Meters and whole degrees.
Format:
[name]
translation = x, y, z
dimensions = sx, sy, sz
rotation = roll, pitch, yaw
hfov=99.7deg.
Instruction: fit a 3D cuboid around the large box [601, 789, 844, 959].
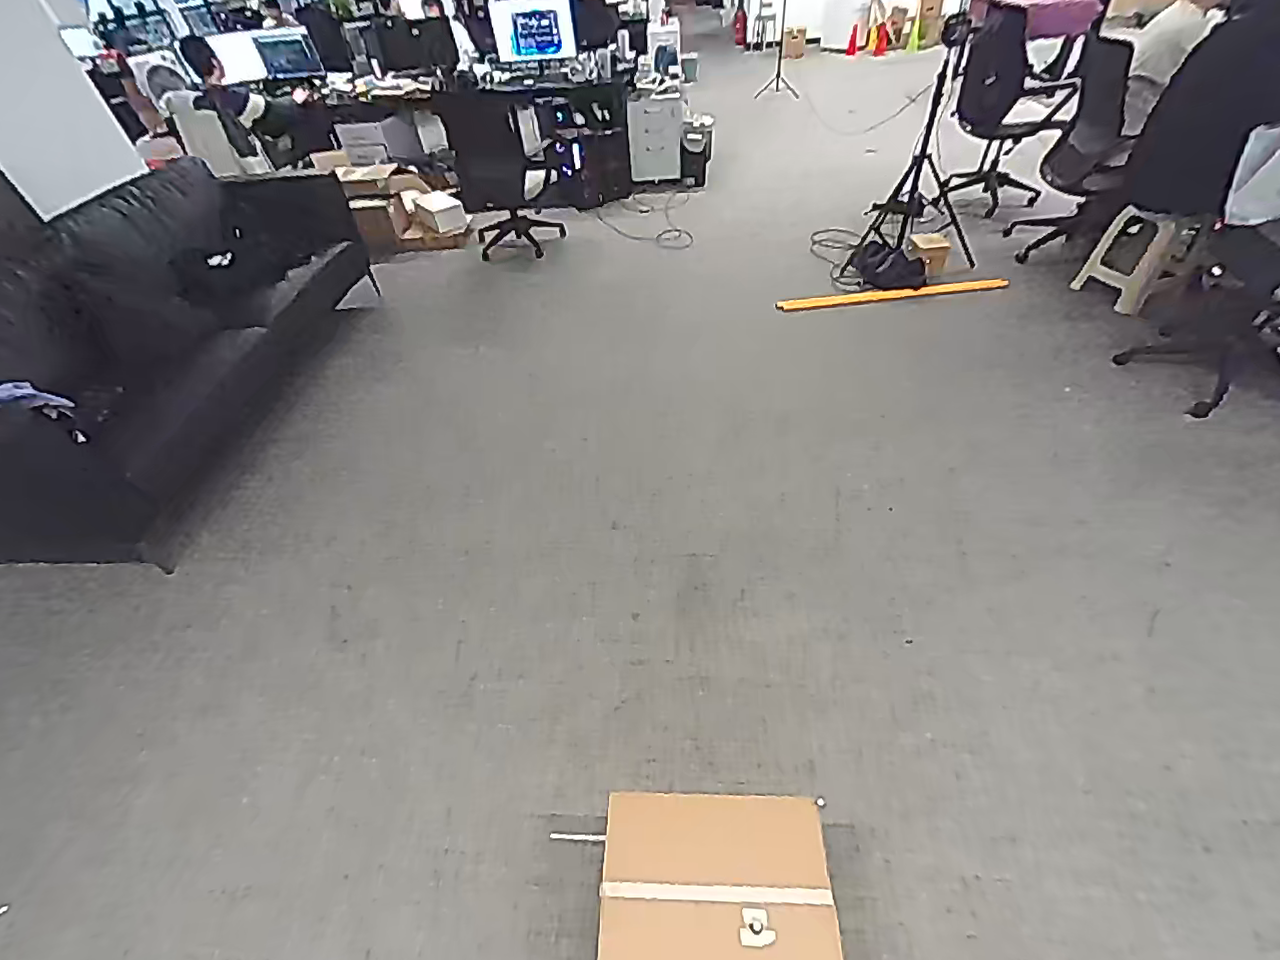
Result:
[large box]
translation = 0.147, 0.826, 1.057
dimensions = 0.408, 0.320, 0.320
rotation = -1, 45, 5
